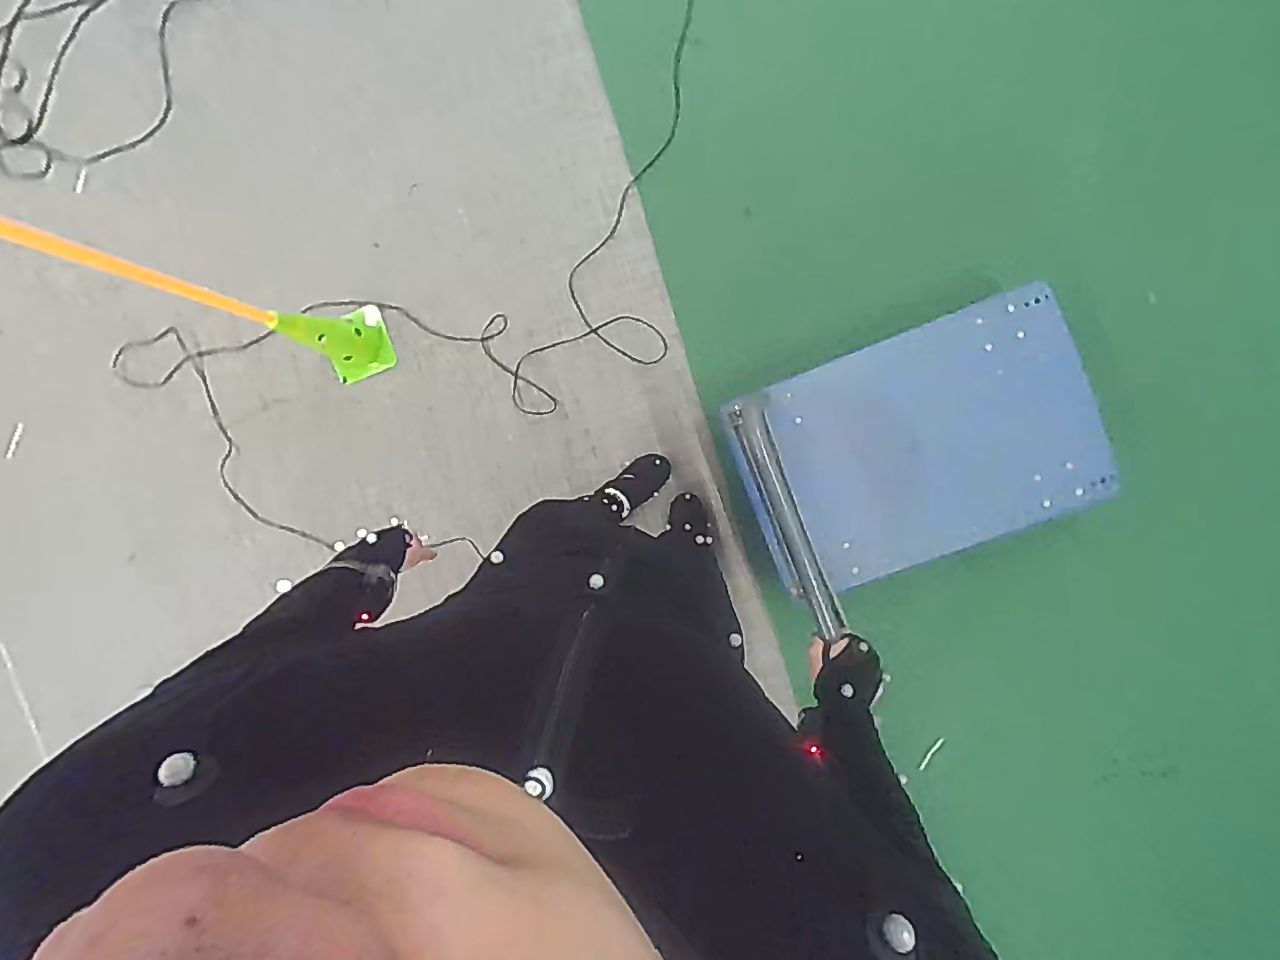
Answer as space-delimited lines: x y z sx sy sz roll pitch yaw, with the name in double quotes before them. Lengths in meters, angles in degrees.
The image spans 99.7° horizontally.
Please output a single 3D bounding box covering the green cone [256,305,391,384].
"green cone" -0.894 -0.408 1.491 0.200 0.368 0.202 -21 90 6
